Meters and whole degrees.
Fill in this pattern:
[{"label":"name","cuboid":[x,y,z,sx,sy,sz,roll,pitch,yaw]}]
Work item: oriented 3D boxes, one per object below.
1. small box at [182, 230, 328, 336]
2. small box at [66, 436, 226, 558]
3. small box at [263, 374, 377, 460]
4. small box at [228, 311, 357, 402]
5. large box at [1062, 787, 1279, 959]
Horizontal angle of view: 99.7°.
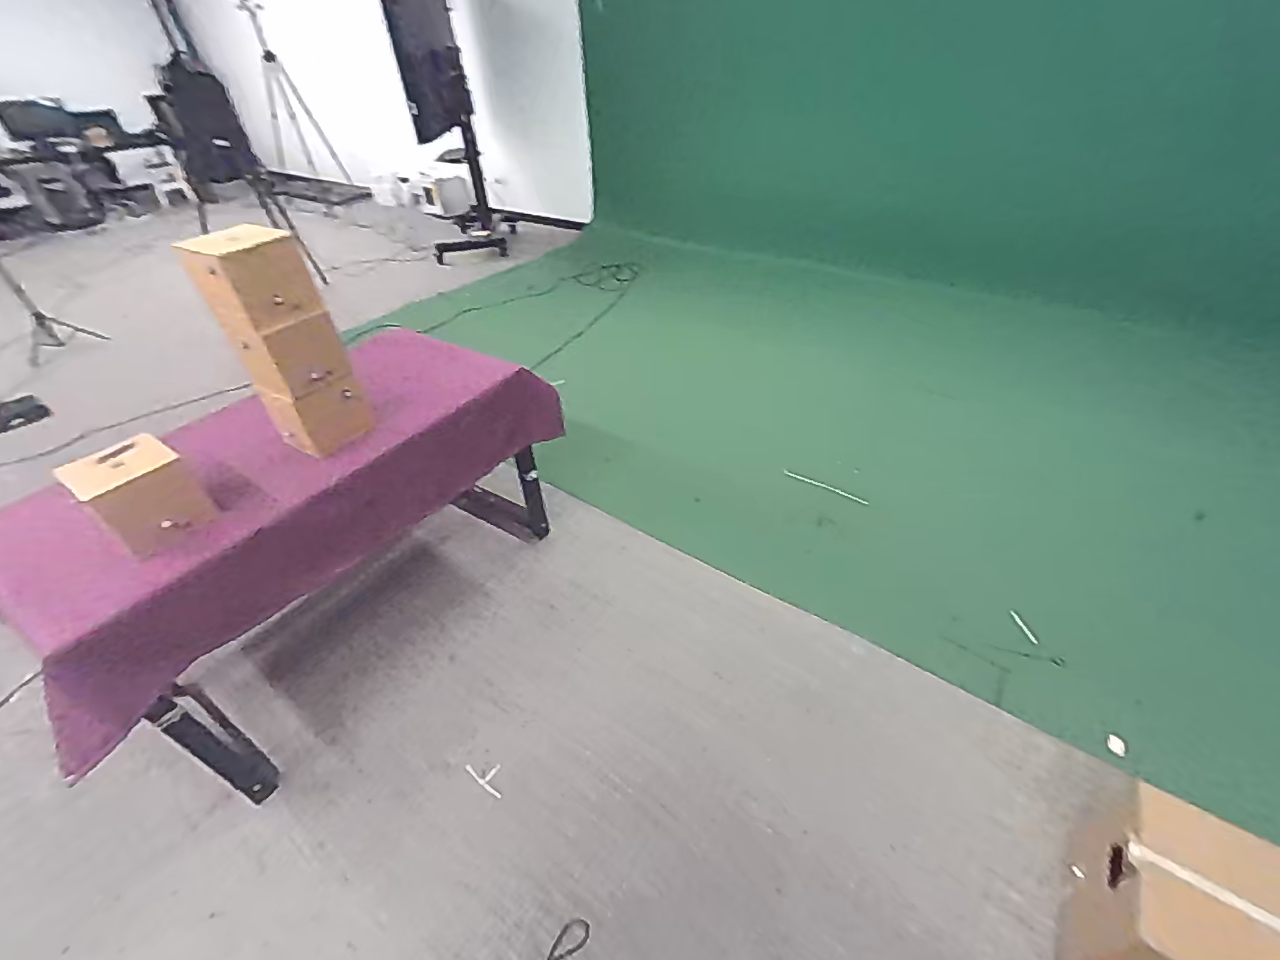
[{"label":"small box","cuboid":[-0.835,-0.432,1.188,0.179,0.176,0.168,19,45,24]},{"label":"small box","cuboid":[-1.036,0.037,1.145,0.179,0.176,0.168,23,46,27]},{"label":"small box","cuboid":[-0.811,-0.180,1.393,0.168,0.176,0.179,21,45,27]},{"label":"small box","cuboid":[-0.821,-0.307,1.290,0.179,0.176,0.168,21,46,26]},{"label":"large box","cuboid":[1.099,0.887,1.015,0.408,0.320,0.320,24,46,27]}]
